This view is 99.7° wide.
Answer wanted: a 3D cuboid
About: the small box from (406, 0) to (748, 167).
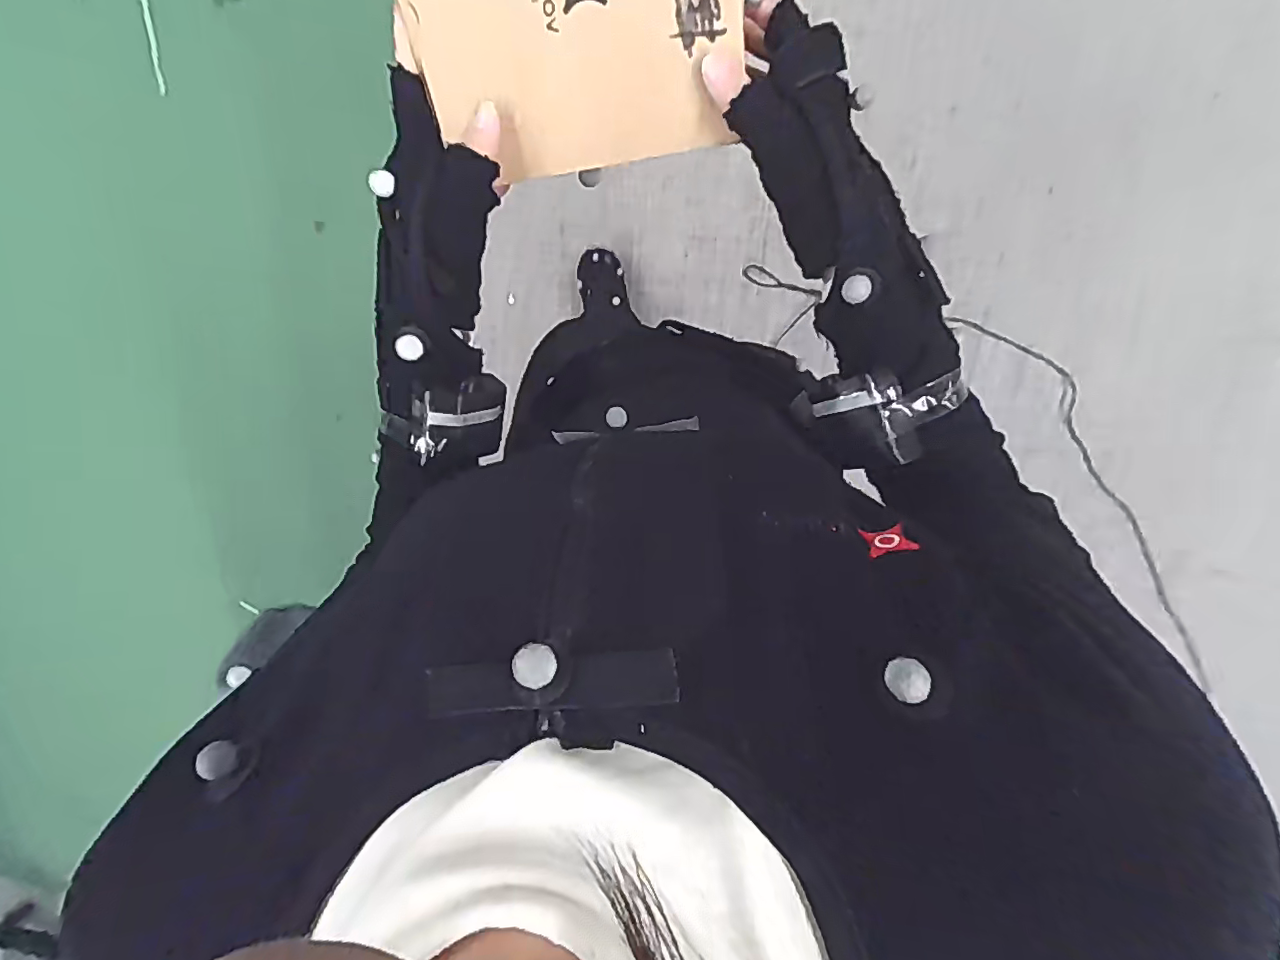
[{"bbox_3d":[-0.032,-0.304,0.337,0.179,0.176,0.168,-7,120,10],"label":"small box"}]
